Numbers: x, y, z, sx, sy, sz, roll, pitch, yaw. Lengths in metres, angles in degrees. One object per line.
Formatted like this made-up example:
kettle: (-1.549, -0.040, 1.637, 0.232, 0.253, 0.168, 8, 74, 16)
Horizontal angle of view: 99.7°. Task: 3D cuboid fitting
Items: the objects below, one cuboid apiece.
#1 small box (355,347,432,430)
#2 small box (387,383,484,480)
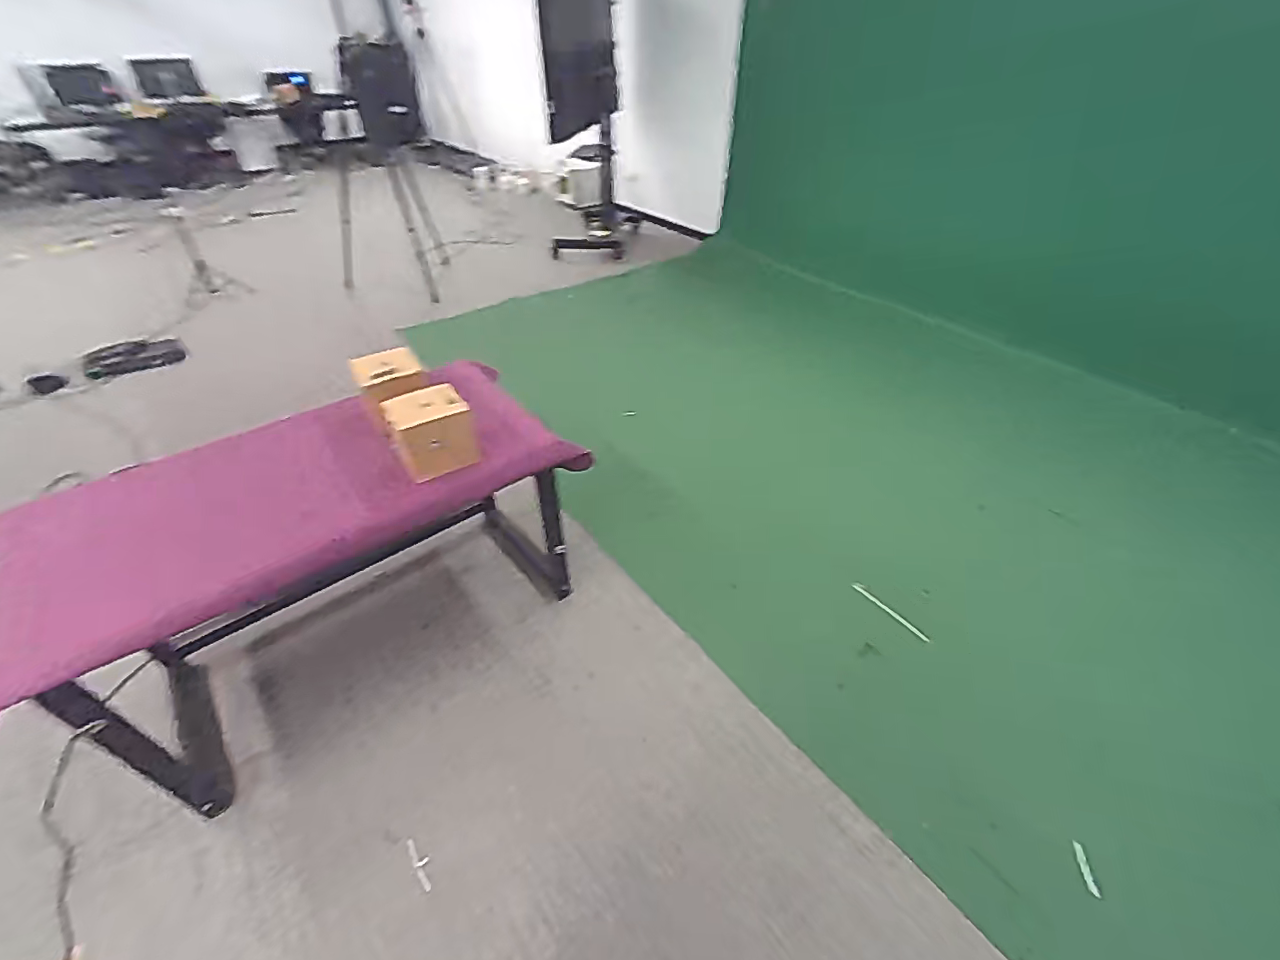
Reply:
small box: (-0.707, -0.263, 1.582, 0.168, 0.176, 0.179, -22, 45, -24)
small box: (-0.533, -0.126, 1.424, 0.179, 0.176, 0.168, -24, 45, -24)
